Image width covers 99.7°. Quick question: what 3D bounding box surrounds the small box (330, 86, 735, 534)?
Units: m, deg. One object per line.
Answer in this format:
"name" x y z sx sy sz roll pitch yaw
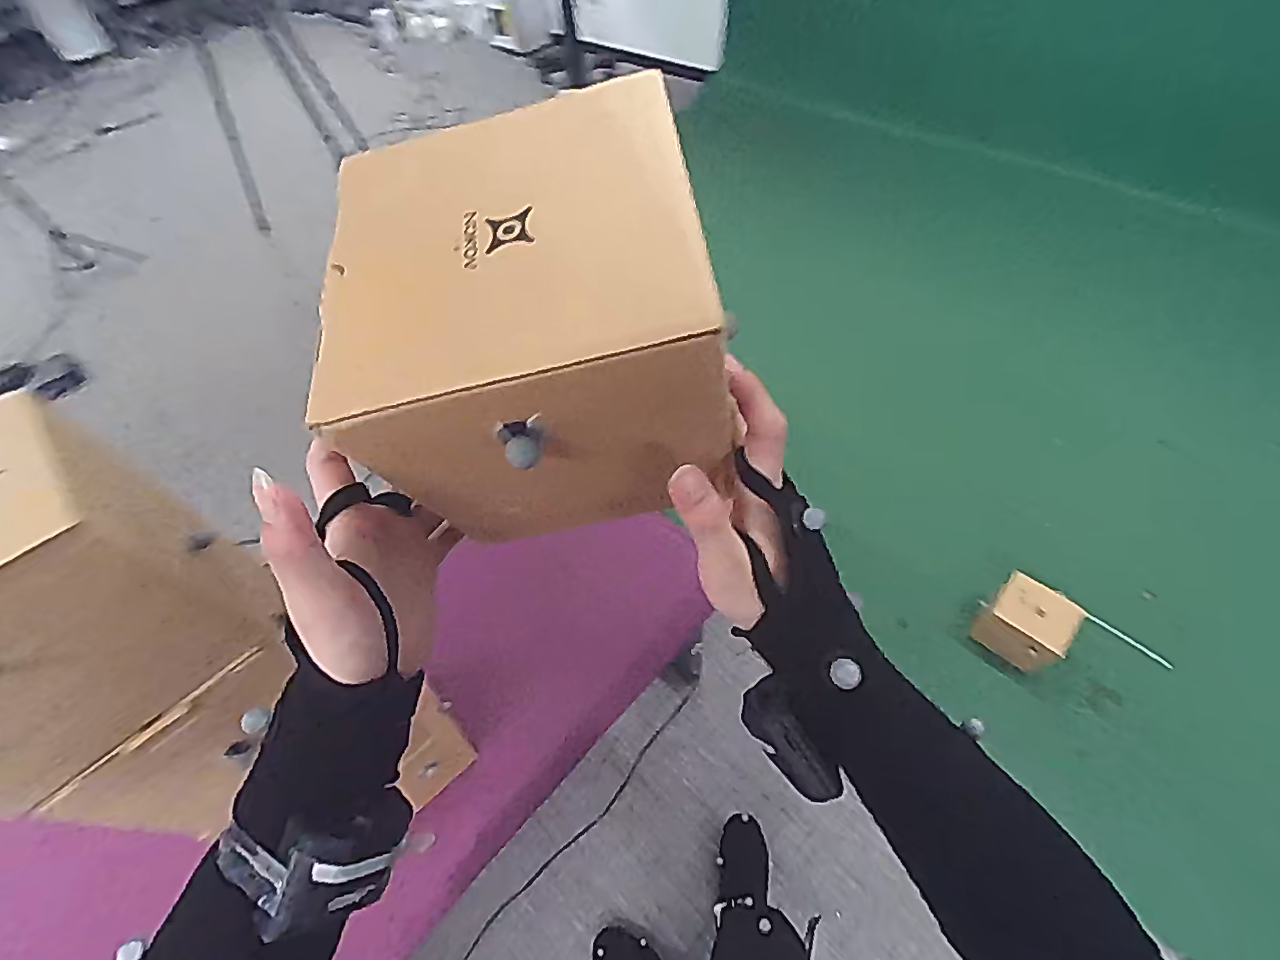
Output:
"small box" -0.042 -0.079 0.325 0.179 0.176 0.168 -11 64 9

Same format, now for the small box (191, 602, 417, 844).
"small box" -0.386 0.281 0.624 0.179 0.176 0.168 -39 59 -21

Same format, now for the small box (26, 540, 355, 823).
"small box" -0.403 0.181 0.498 0.168 0.176 0.179 -39 60 -22

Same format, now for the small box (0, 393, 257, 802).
"small box" -0.418 0.081 0.367 0.179 0.176 0.168 -40 59 -23

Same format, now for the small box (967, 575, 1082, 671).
"small box" 1.052 0.401 1.492 0.179 0.176 0.168 36 64 27
